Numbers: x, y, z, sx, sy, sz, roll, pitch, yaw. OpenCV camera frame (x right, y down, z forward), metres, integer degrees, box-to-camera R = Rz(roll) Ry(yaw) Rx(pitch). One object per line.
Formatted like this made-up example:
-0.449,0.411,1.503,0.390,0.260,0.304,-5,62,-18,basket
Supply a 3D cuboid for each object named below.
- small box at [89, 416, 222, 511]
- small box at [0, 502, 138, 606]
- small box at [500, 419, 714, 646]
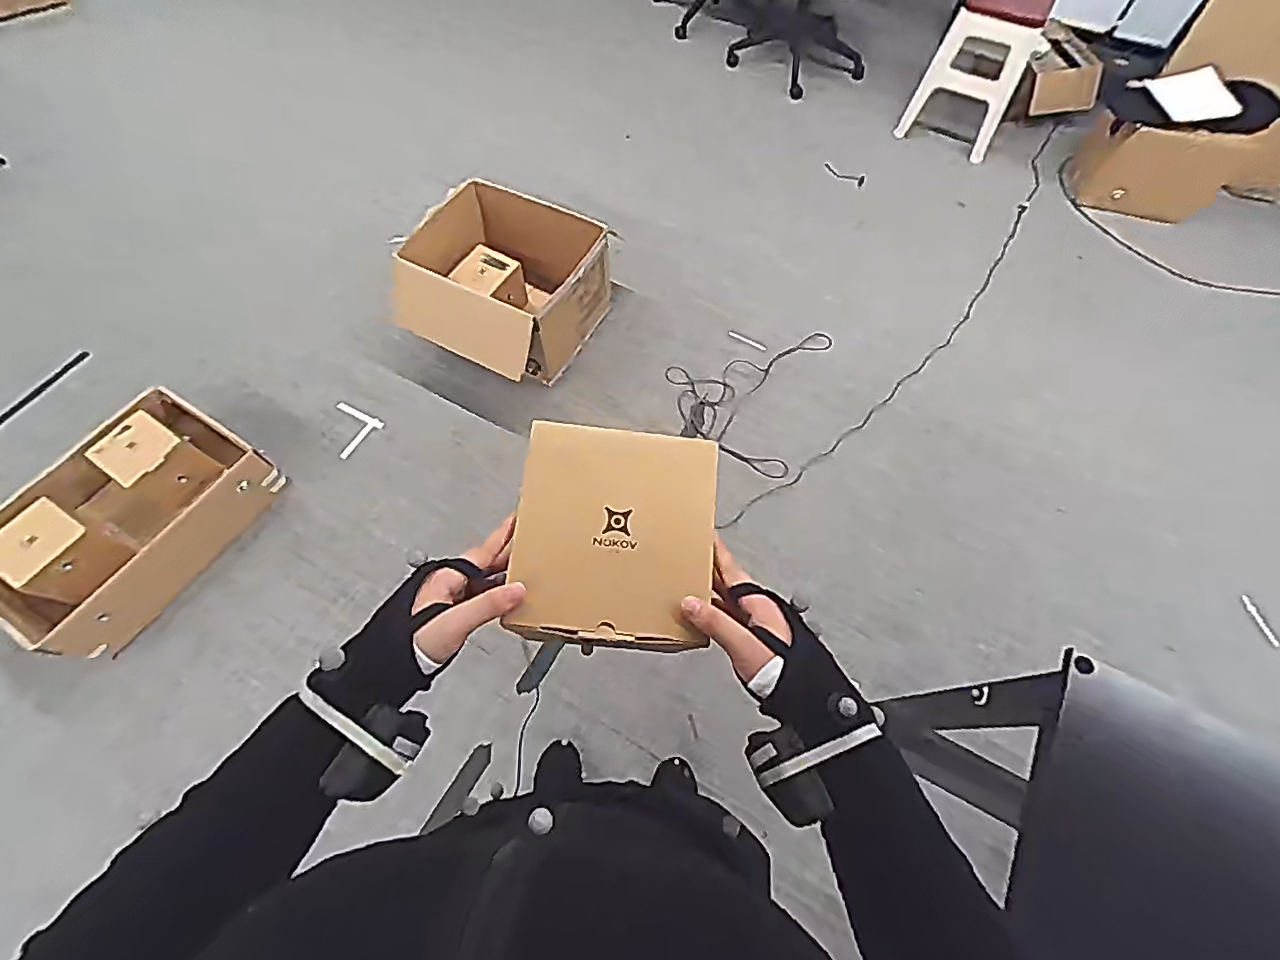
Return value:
-1.303,-0.036,1.470,0.179,0.176,0.168,32,68,12,small box
-1.440,0.191,1.355,0.168,0.176,0.179,29,65,10,small box
-0.030,0.062,0.524,0.168,0.176,0.179,6,71,-4,small box
